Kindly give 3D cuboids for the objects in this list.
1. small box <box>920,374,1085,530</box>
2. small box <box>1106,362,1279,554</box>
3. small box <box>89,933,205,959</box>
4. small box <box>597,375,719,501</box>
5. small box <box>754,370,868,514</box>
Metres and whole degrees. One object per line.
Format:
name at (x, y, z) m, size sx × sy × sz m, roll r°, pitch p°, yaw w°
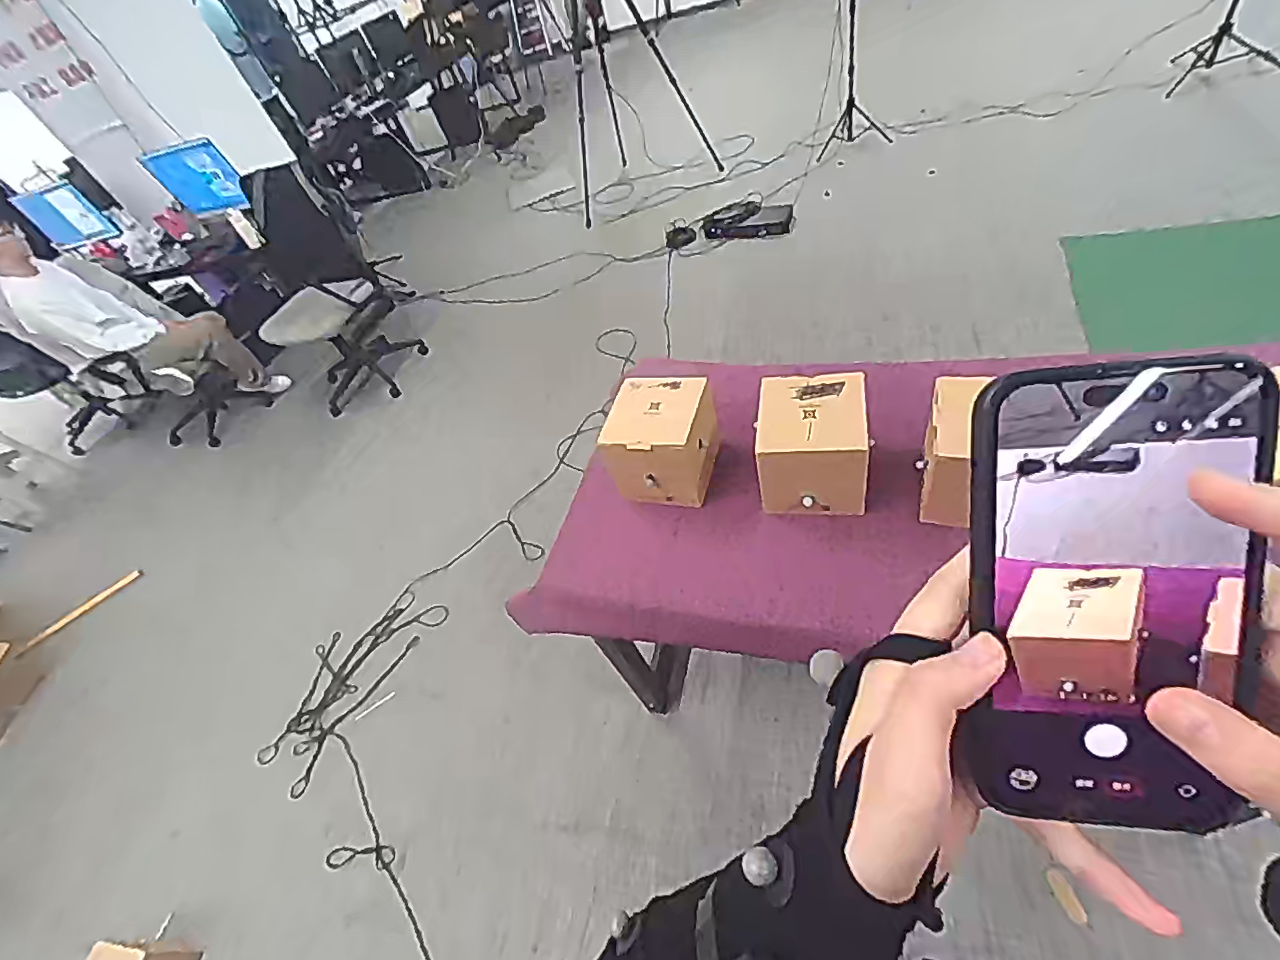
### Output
small box at (0.529, -0.042, 0.814) m, size 0.179 × 0.176 × 0.168 m, roll 6°, pitch 54°, yaw 24°
small box at (0.765, -0.022, 0.711) m, size 0.179 × 0.176 × 0.168 m, roll -13°, pitch 47°, yaw 9°
small box at (-1.244, 1.239, 1.334) m, size 0.179 × 0.176 × 0.168 m, roll -4°, pitch 50°, yaw 17°
small box at (0.044, -0.077, 1.020) m, size 0.168 × 0.176 × 0.179 m, roll 4°, pitch 53°, yaw 23°
small box at (0.292, -0.063, 0.918) m, size 0.168 × 0.176 × 0.179 m, roll 0°, pitch 51°, yaw 20°
